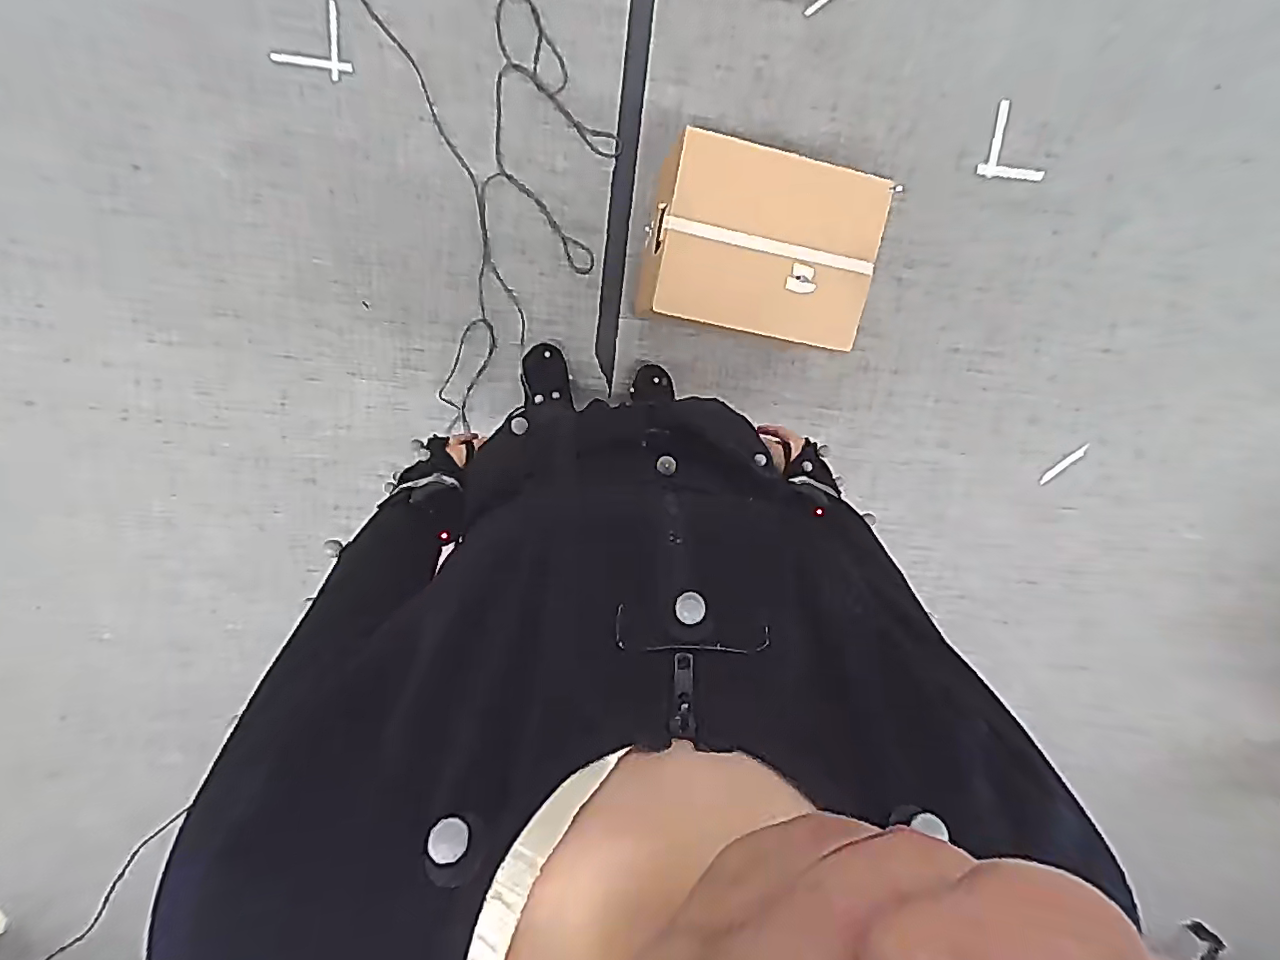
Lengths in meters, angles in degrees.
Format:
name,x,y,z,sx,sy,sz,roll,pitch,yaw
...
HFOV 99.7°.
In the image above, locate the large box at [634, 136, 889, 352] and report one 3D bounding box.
name,x,y,z,sx,sy,sz,roll,pitch,yaw
large box,0.221,-0.459,1.138,0.408,0.320,0.320,8,104,-10
